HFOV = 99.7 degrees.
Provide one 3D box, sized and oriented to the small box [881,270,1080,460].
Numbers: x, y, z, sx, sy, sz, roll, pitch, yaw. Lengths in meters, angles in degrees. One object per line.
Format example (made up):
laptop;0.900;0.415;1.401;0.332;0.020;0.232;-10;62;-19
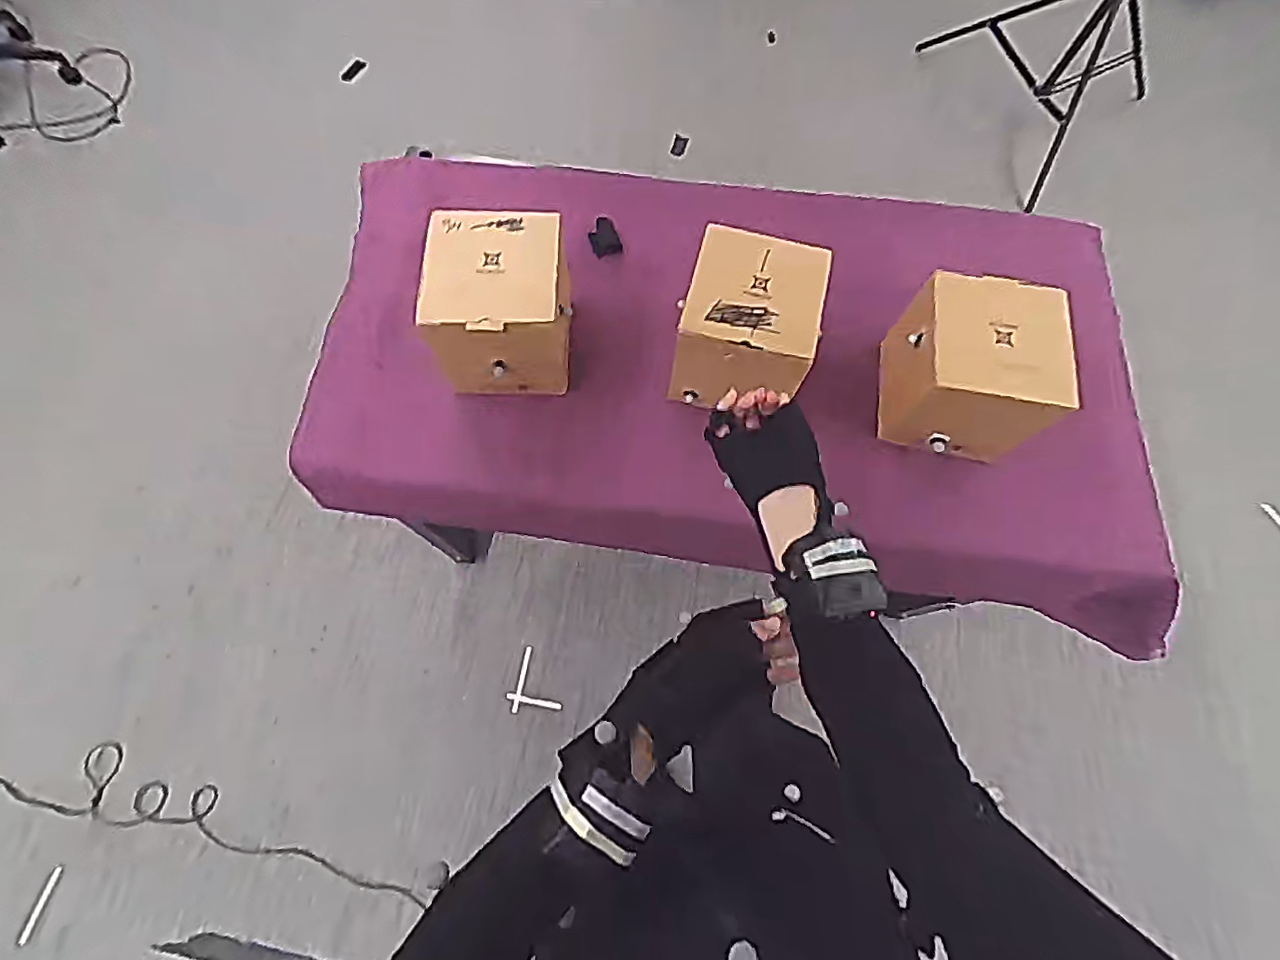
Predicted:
small box;0.444;-0.148;0.734;0.168;0.176;0.179;10;70;4

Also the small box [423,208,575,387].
small box;-0.180;-0.241;0.745;0.168;0.176;0.179;0;70;-2

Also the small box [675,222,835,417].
small box;0.149;-0.210;0.745;0.168;0.176;0.179;15;69;4
